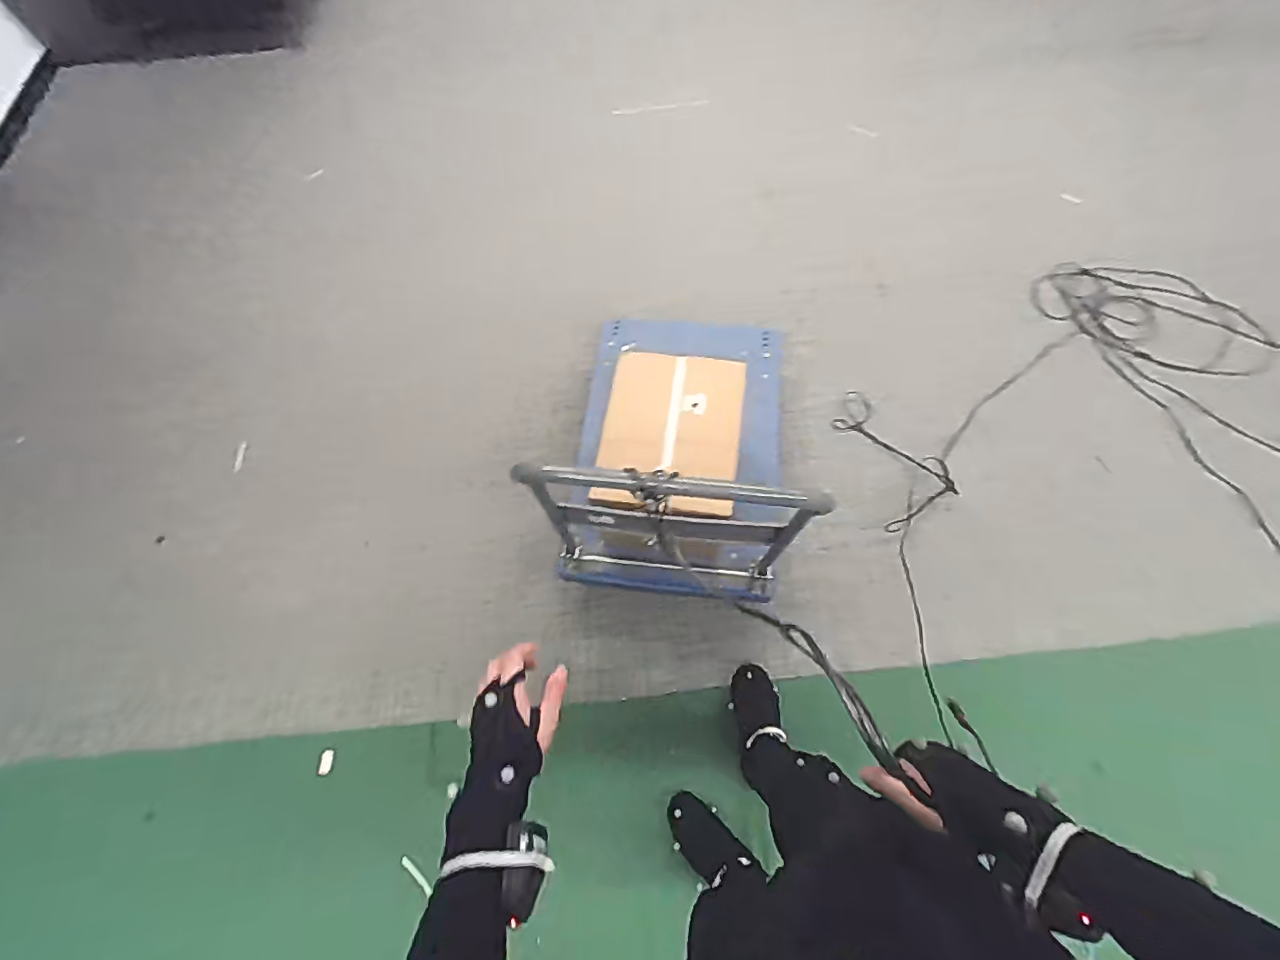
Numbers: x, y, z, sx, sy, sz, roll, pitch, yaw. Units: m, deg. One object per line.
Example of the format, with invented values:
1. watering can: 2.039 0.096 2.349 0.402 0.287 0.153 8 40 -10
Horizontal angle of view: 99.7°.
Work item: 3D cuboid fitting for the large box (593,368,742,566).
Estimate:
1. large box: 0.080 -0.024 1.393 0.320 0.320 0.408 7 64 6
